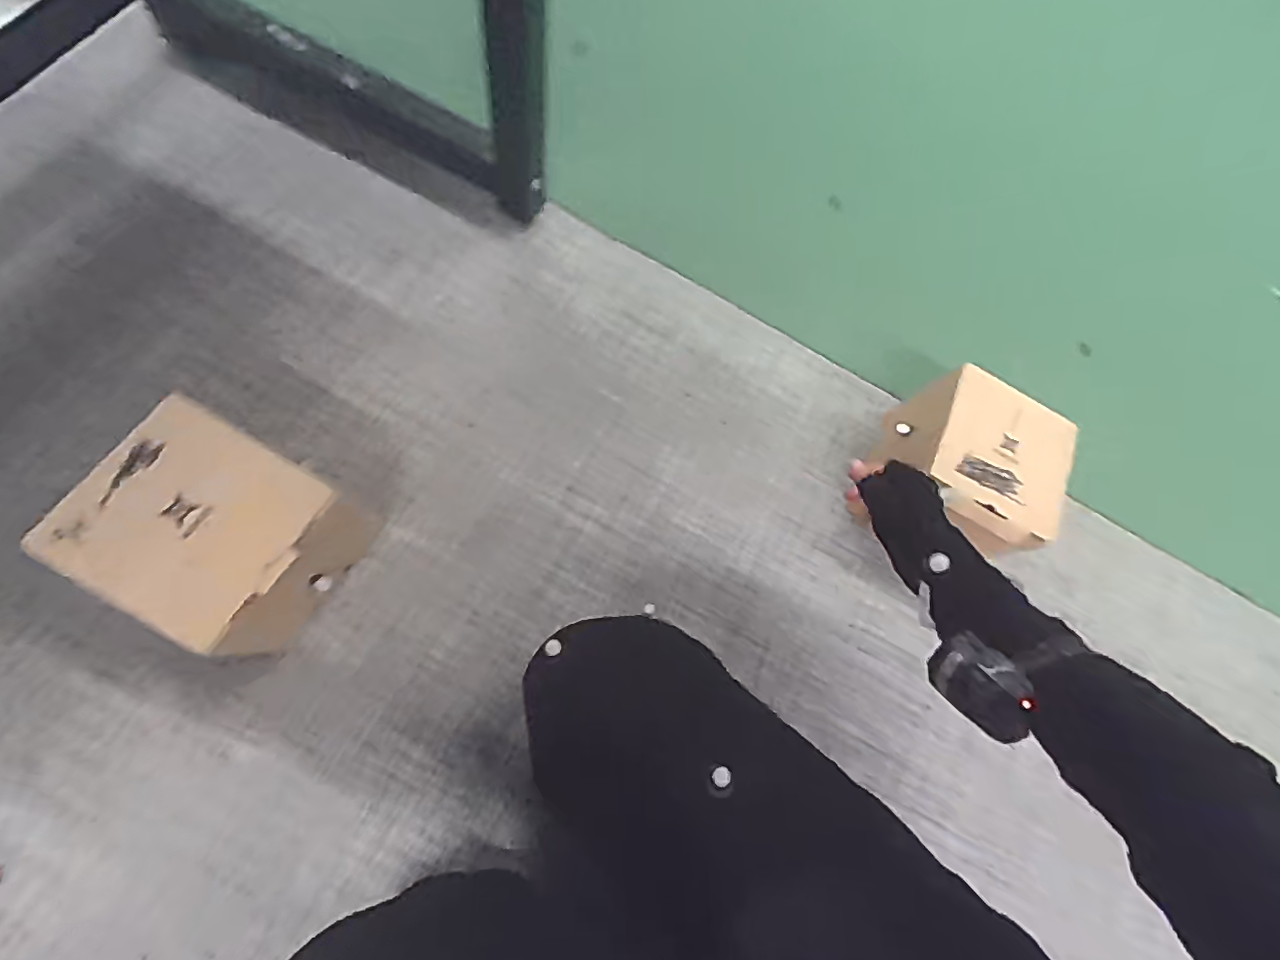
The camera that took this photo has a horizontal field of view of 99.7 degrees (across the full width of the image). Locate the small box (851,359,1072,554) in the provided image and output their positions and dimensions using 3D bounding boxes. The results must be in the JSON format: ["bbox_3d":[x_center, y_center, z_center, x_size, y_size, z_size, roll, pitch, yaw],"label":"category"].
[{"bbox_3d":[0.409,-0.018,0.716,0.168,0.176,0.179,30,71,-2],"label":"small box"}]
